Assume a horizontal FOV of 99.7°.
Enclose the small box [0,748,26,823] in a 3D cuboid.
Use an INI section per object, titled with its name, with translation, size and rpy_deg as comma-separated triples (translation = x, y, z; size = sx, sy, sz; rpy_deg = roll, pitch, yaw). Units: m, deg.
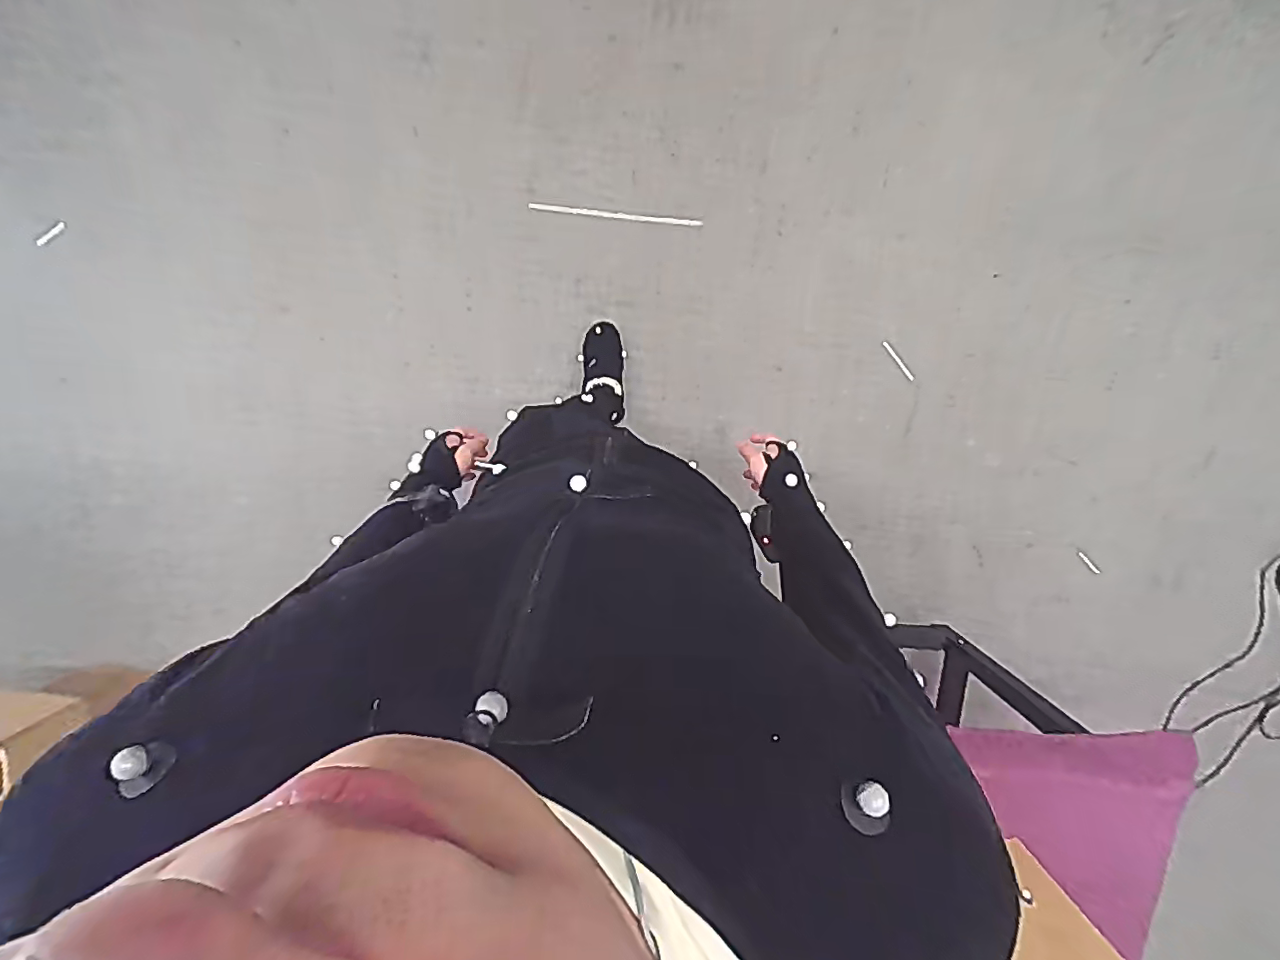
[small box]
translation = -1.549, 0.714, 1.203
size = 0.179, 0.176, 0.168
rpy_deg = 8, 98, -3
